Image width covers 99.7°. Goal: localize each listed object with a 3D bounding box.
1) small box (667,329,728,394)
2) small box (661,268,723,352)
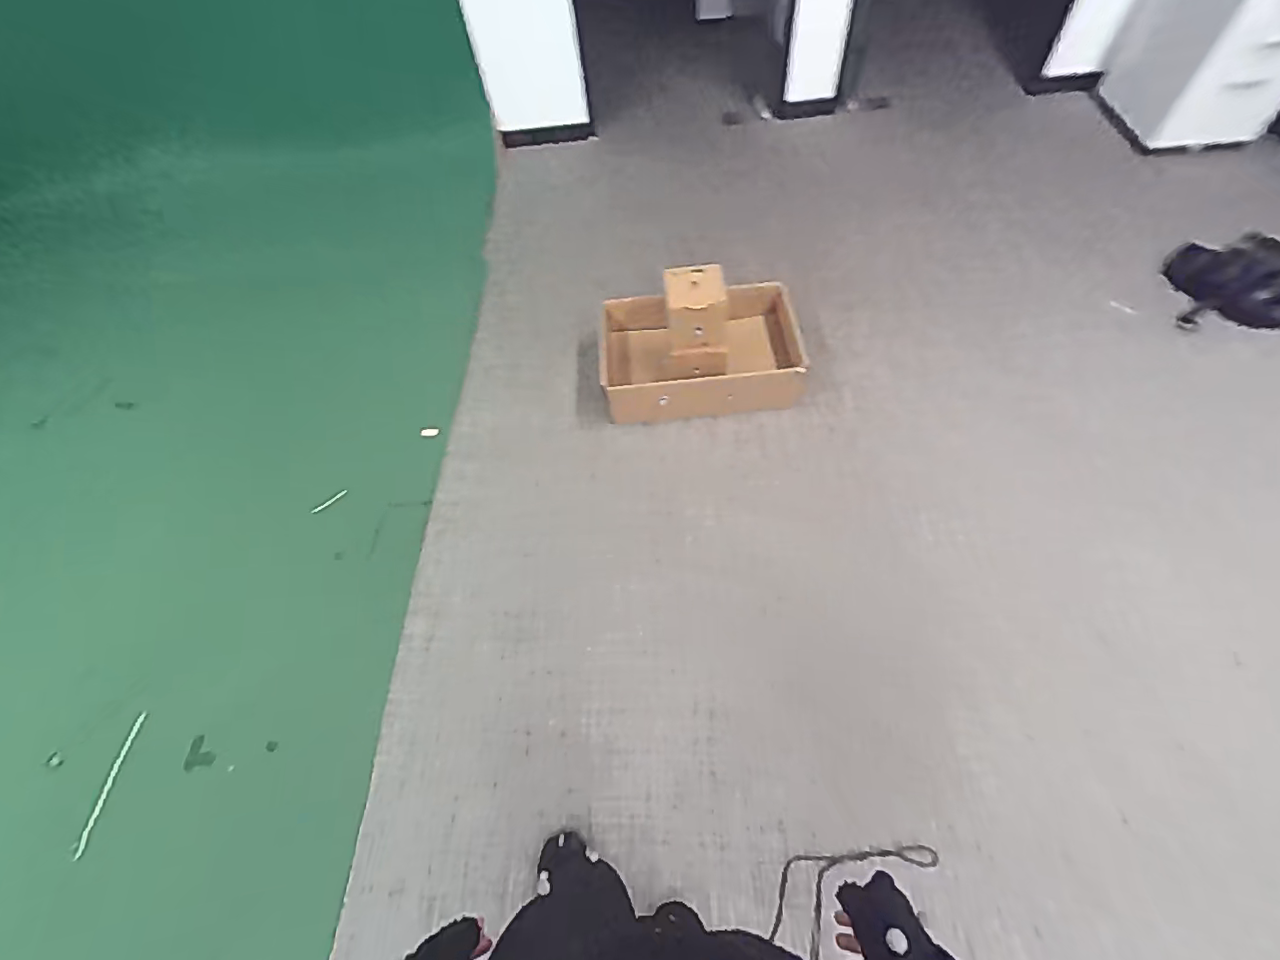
[{"bbox_3d":[0.178,-0.396,1.737,0.179,0.176,0.168,-6,57,1],"label":"small box"},{"bbox_3d":[0.155,-0.498,1.612,0.168,0.176,0.179,-5,57,3],"label":"small box"}]
